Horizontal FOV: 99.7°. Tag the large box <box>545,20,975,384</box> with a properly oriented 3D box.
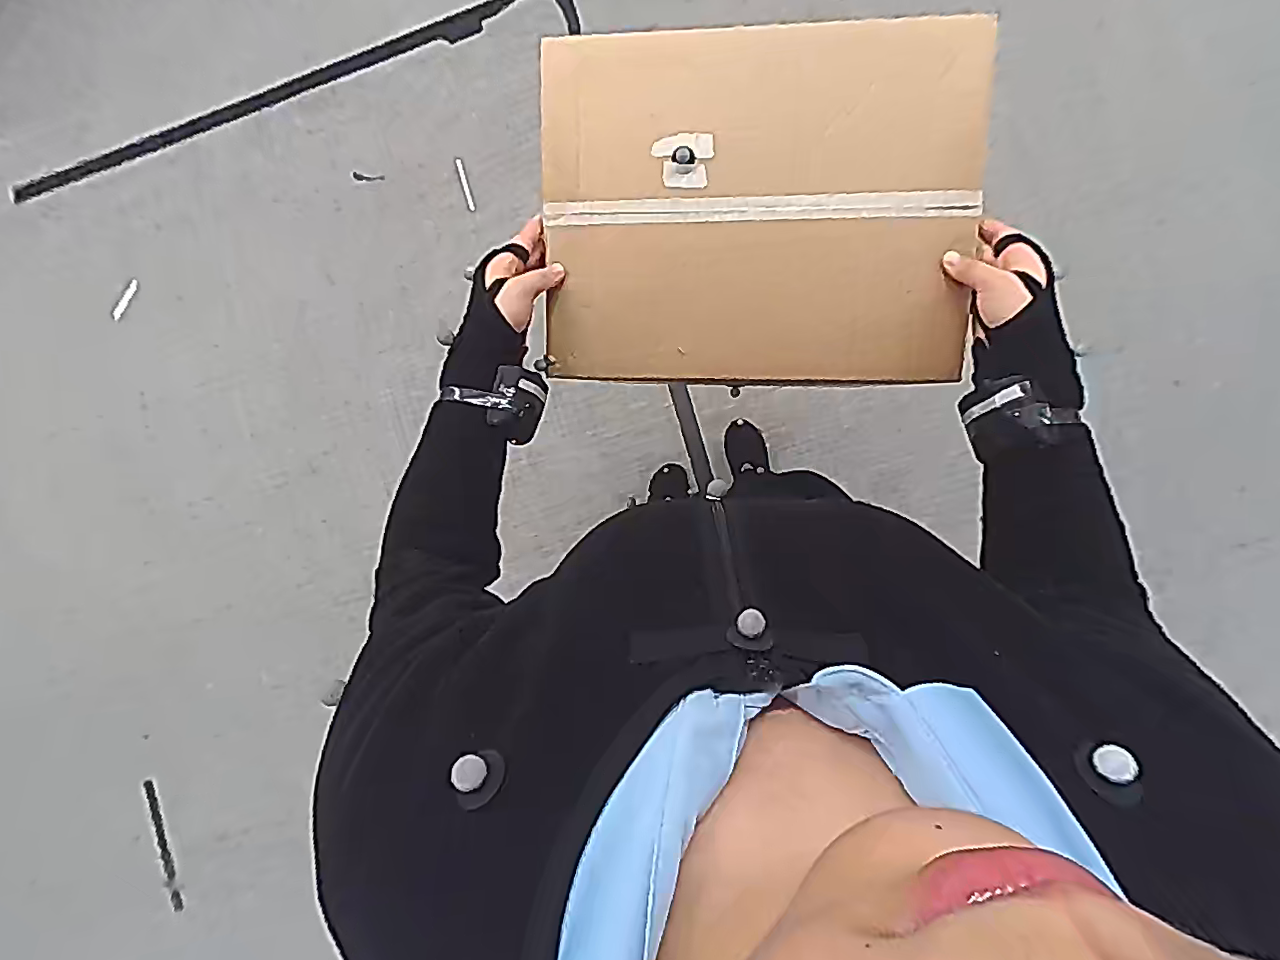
[{"bbox_3d":[0.124,-0.281,0.671,0.408,0.320,0.320,0,98,6],"label":"large box"}]
